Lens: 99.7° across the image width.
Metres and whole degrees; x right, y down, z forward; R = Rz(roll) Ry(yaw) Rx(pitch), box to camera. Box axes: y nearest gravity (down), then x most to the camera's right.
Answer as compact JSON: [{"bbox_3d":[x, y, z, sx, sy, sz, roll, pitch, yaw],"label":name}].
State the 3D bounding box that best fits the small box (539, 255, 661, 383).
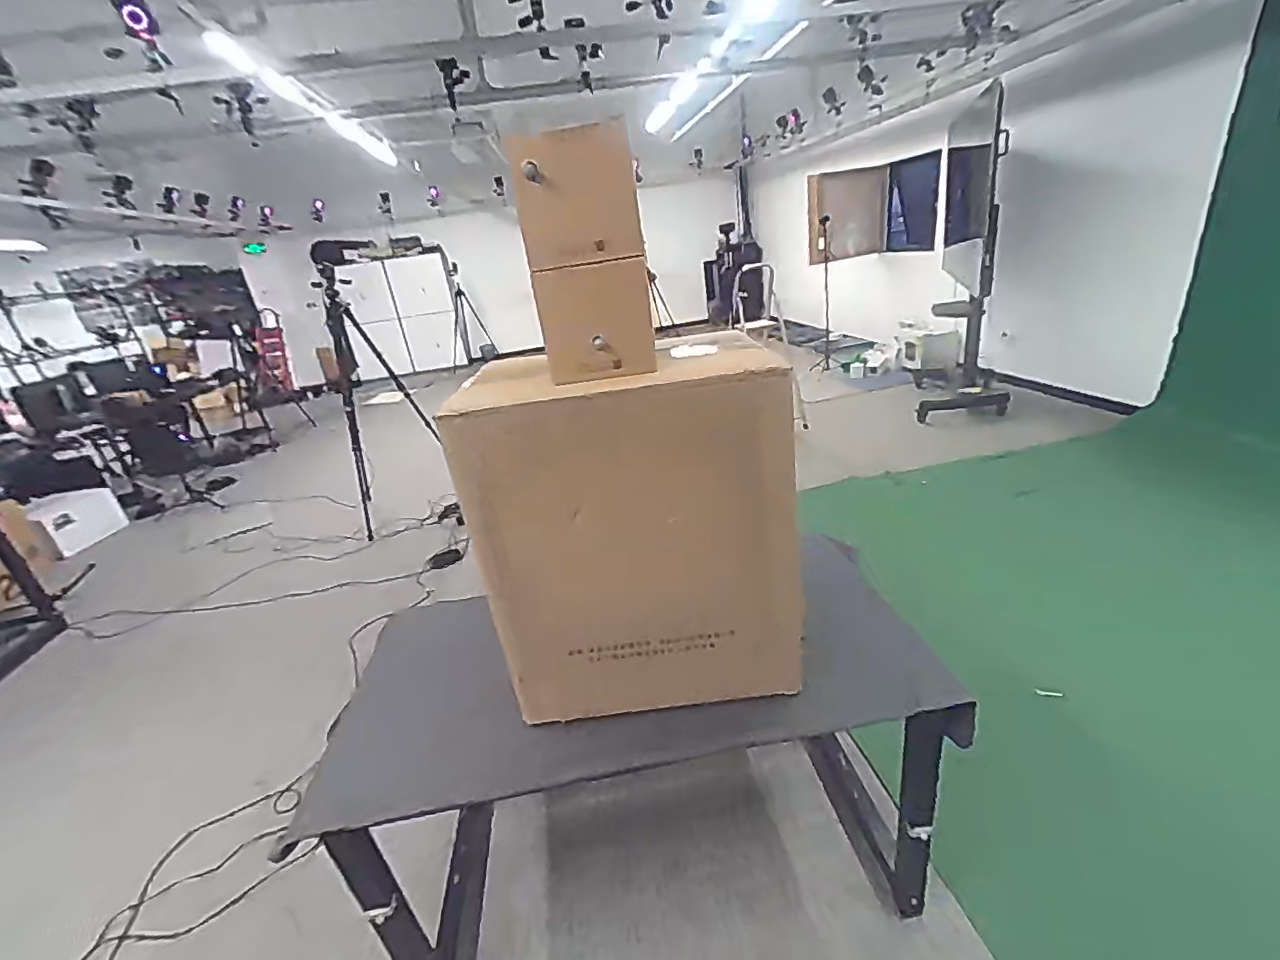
[{"bbox_3d":[-0.057,-0.264,0.880,0.168,0.176,0.179,-7,26,2],"label":"small box"}]
